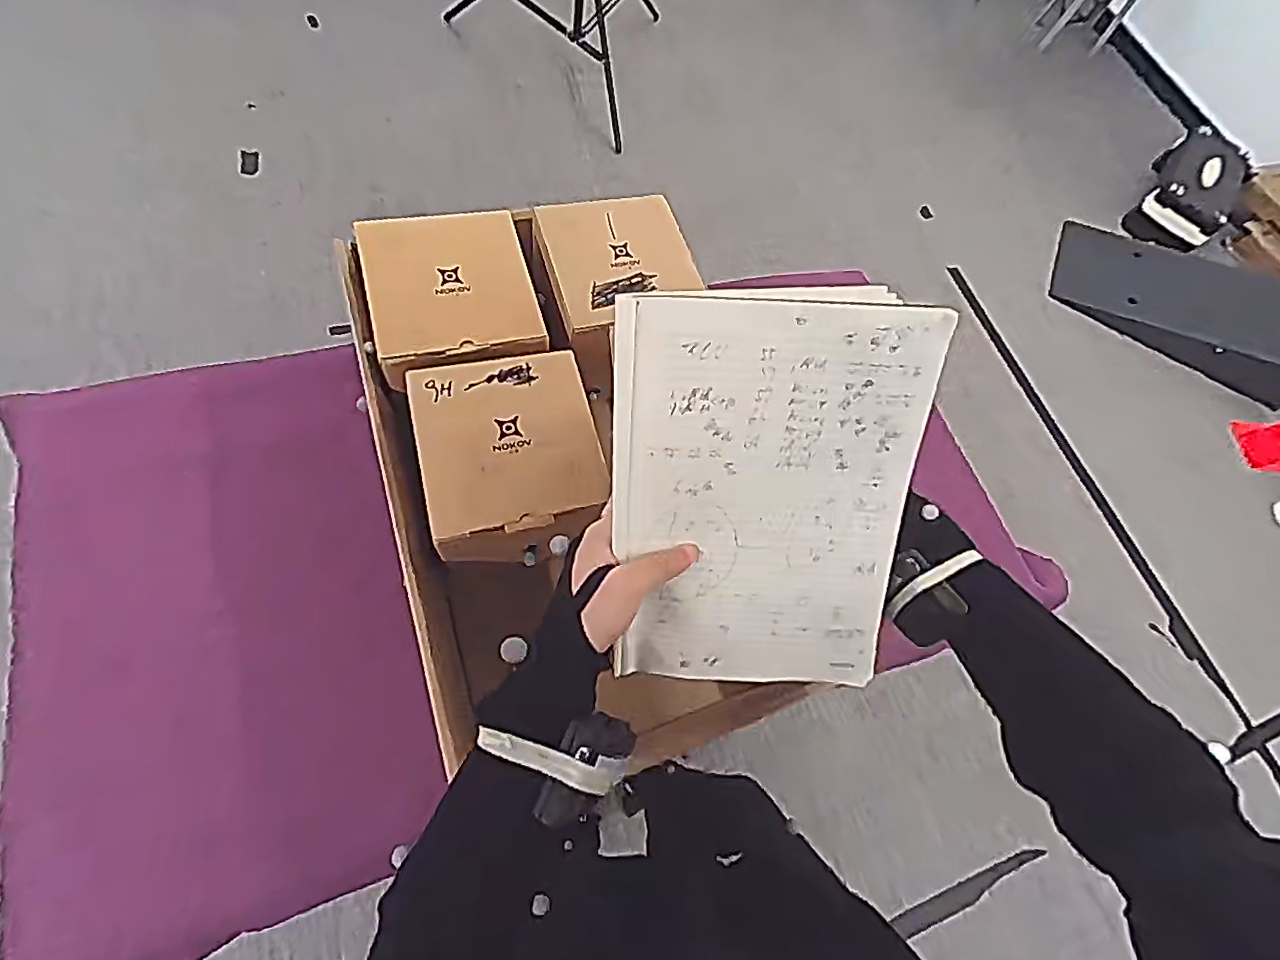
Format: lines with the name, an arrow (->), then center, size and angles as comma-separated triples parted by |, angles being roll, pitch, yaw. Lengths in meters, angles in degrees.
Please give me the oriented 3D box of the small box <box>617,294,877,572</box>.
small box -> 0.073, -0.032, 0.481 | 0.168, 0.176, 0.179 | -10, 69, -4
